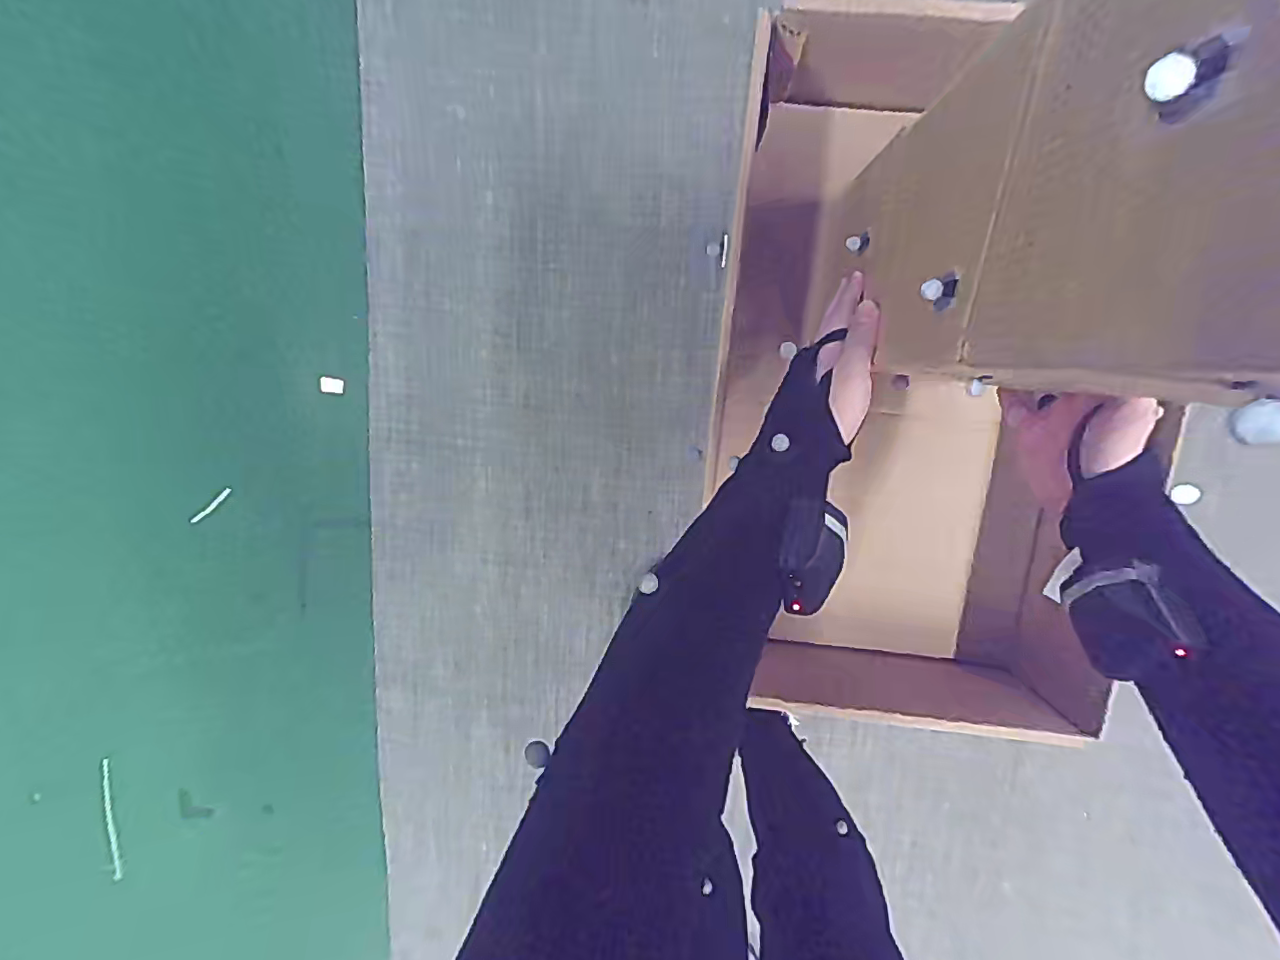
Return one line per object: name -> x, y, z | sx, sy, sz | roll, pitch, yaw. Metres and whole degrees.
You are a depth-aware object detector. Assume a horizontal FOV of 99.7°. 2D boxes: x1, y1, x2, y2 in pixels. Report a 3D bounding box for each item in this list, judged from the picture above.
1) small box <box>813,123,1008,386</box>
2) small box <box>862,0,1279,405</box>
small box -> 0.270, -0.186, 0.494 | 0.168, 0.176, 0.179 | 9, 103, 3
small box -> 0.258, -0.150, 0.335 | 0.168, 0.176, 0.179 | 8, 103, 2
